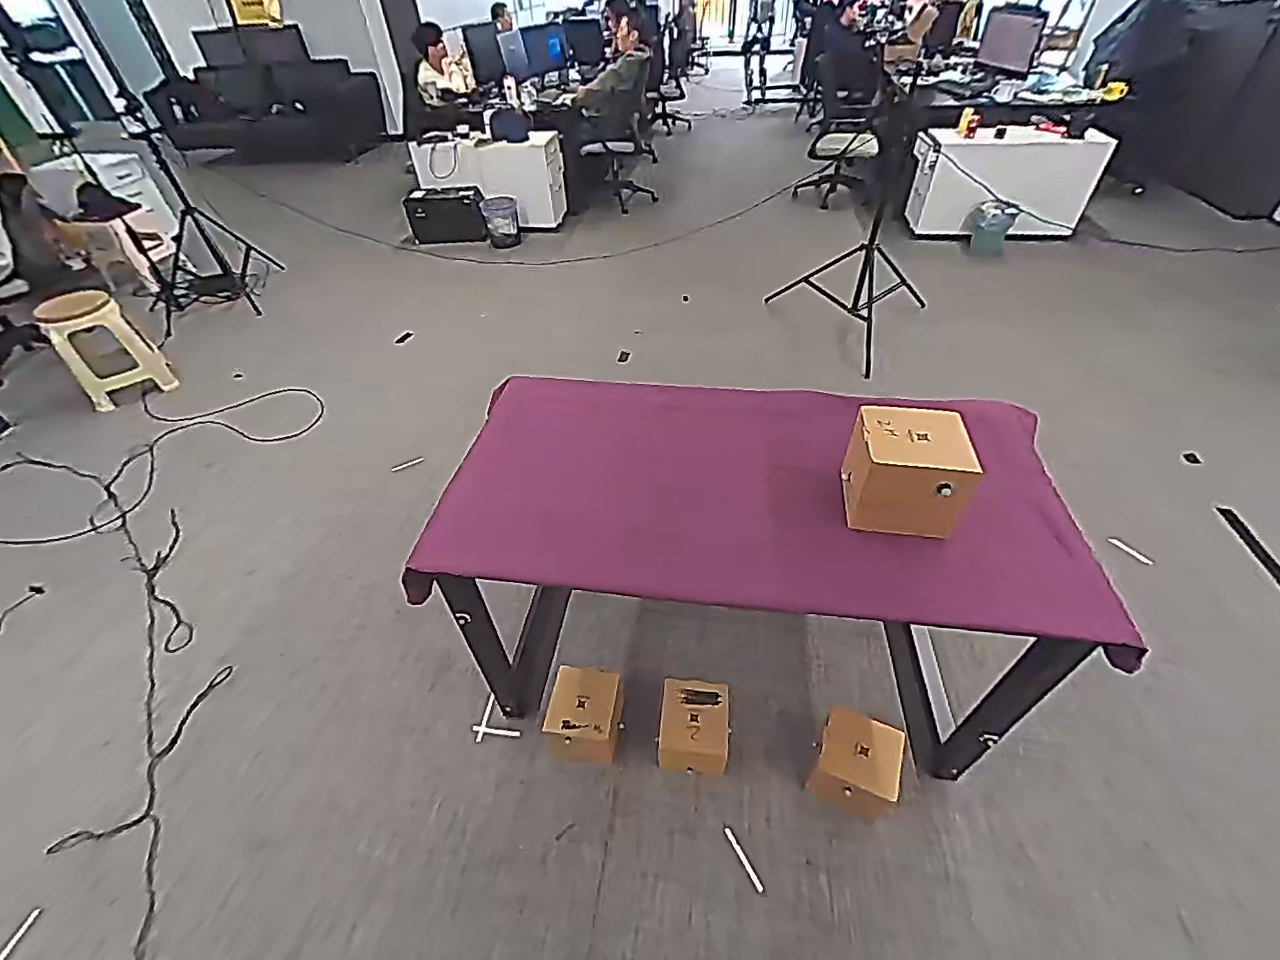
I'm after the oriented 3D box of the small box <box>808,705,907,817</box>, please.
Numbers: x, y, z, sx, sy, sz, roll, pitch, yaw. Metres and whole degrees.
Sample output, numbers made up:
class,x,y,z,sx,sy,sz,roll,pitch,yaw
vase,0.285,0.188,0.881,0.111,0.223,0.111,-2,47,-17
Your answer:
class,x,y,z,sx,sy,sz,roll,pitch,yaw
small box,0.524,0.687,1.314,0.179,0.176,0.168,16,48,21

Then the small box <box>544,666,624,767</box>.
class,x,y,z,sx,sy,sz,roll,pitch,yaw
small box,-0.138,0.621,1.419,0.168,0.176,0.179,5,43,9

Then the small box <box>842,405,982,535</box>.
class,x,y,z,sx,sy,sz,roll,pitch,yaw
small box,0.485,-0.017,0.993,0.179,0.176,0.168,5,43,9
